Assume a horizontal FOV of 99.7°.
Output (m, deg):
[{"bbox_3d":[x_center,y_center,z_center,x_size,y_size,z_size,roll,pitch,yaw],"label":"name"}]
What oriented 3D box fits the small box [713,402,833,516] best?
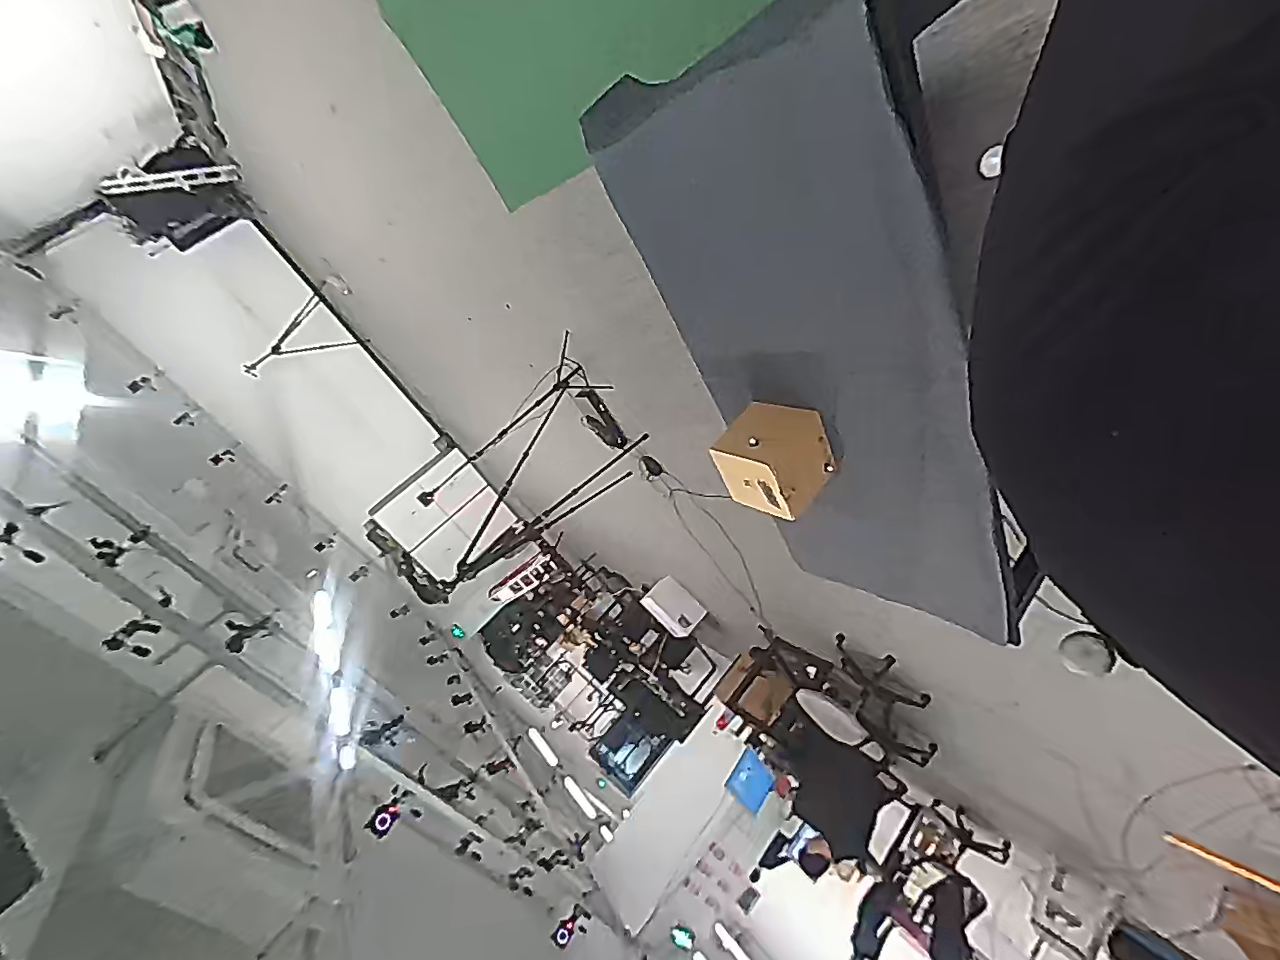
[{"bbox_3d":[0.297,-0.053,1.176,0.179,0.176,0.168,20,149,51],"label":"small box"}]
